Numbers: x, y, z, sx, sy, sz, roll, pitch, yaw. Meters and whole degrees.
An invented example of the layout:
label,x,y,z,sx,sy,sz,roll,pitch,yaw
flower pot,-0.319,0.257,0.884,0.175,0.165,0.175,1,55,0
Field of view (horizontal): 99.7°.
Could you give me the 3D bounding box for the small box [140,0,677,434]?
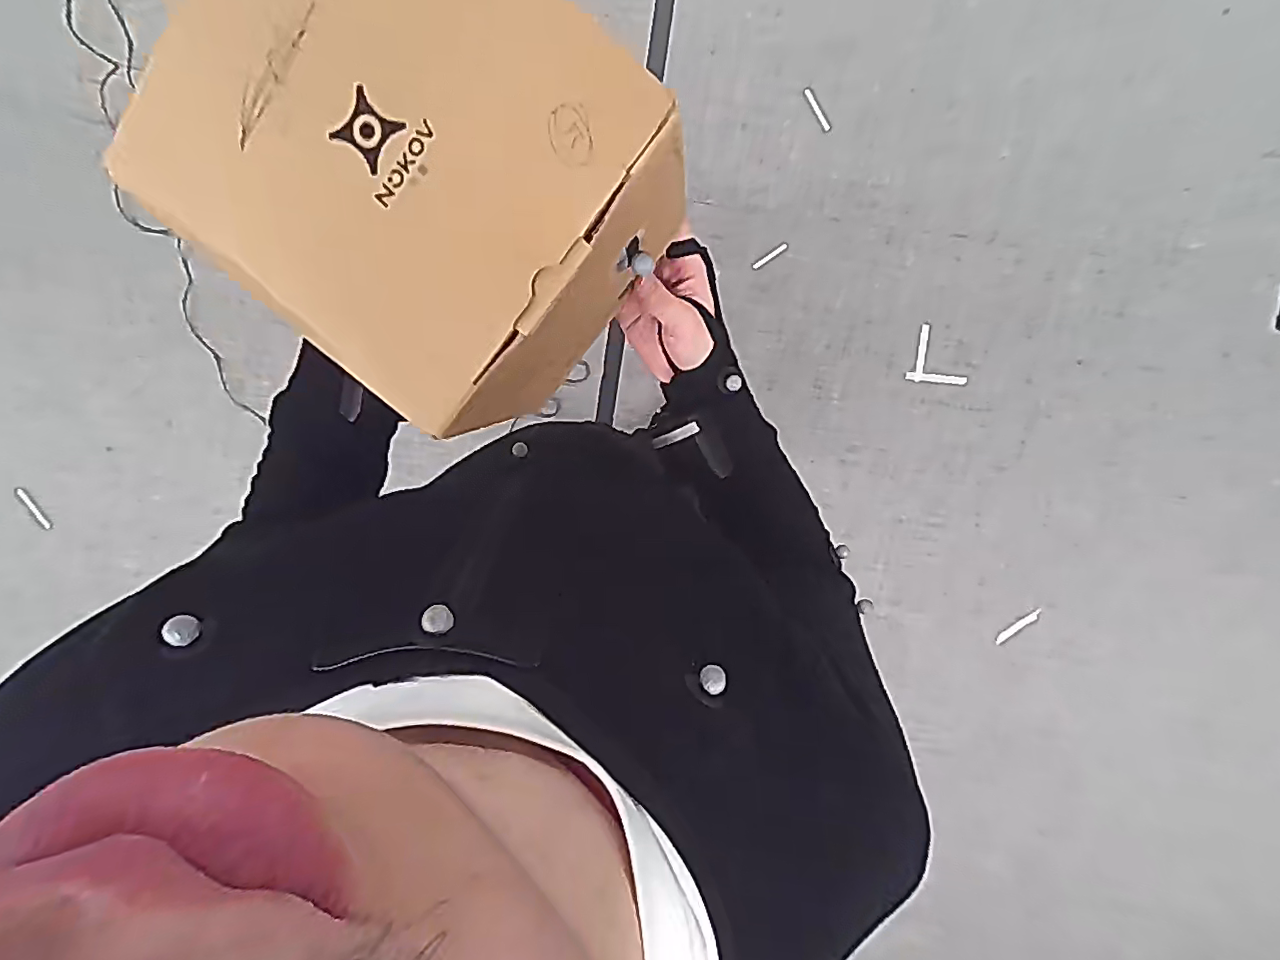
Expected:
label,x,y,z,sx,sy,sz,roll,pitch,yaw
small box,-0.093,-0.150,0.299,0.179,0.176,0.168,39,102,-3
